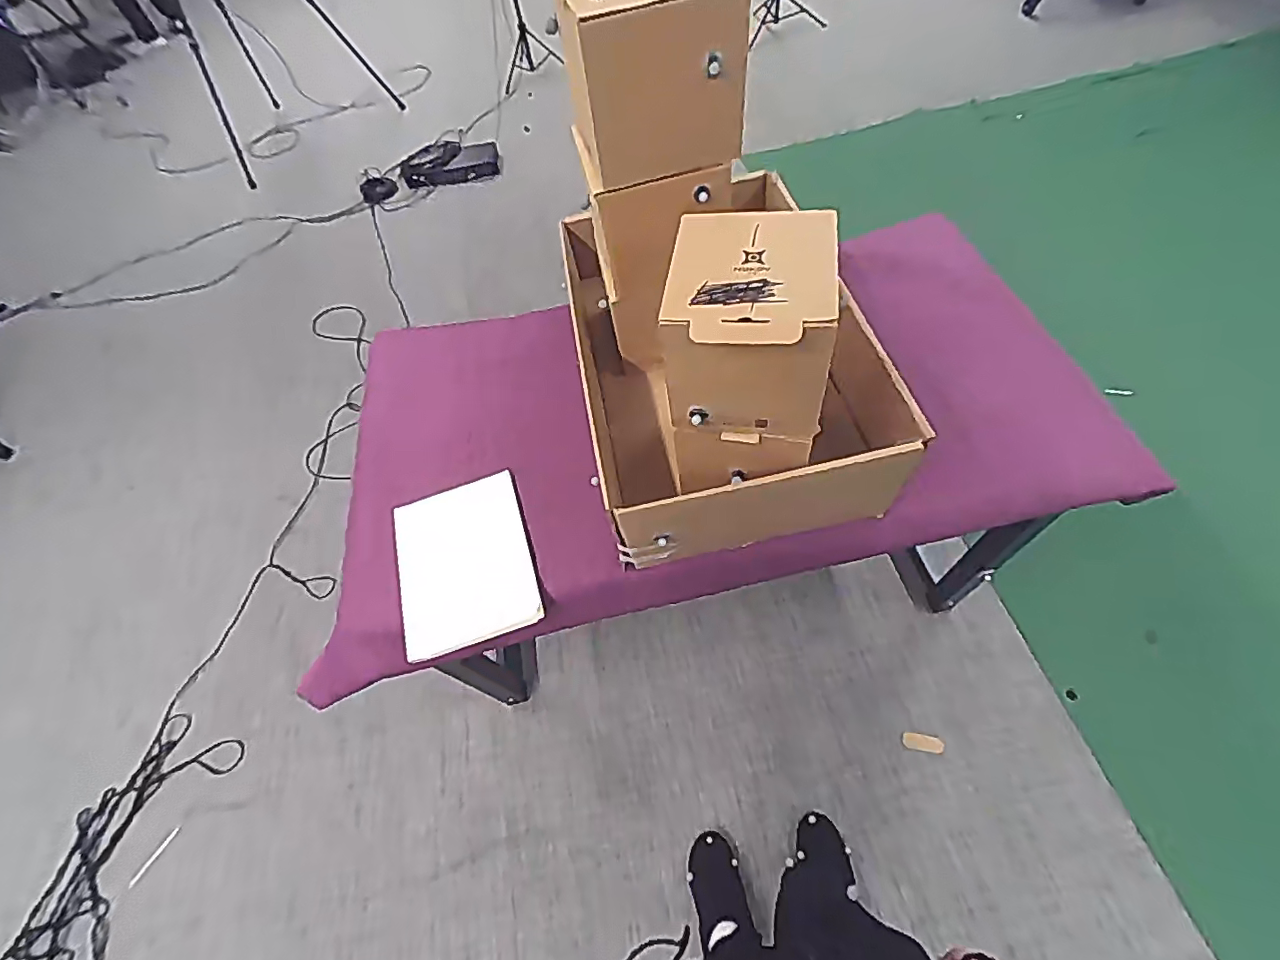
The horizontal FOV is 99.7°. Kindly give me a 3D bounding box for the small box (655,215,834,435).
[{"bbox_3d":[0.121,-0.167,0.607,0.168,0.176,0.179,4,57,13],"label":"small box"}]

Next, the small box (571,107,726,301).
[{"bbox_3d":[0.016,-0.379,0.762,0.179,0.176,0.168,-14,59,-1],"label":"small box"}]

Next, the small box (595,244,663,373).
[{"bbox_3d":[0.030,-0.298,0.901,0.168,0.176,0.179,-12,59,0],"label":"small box"}]
